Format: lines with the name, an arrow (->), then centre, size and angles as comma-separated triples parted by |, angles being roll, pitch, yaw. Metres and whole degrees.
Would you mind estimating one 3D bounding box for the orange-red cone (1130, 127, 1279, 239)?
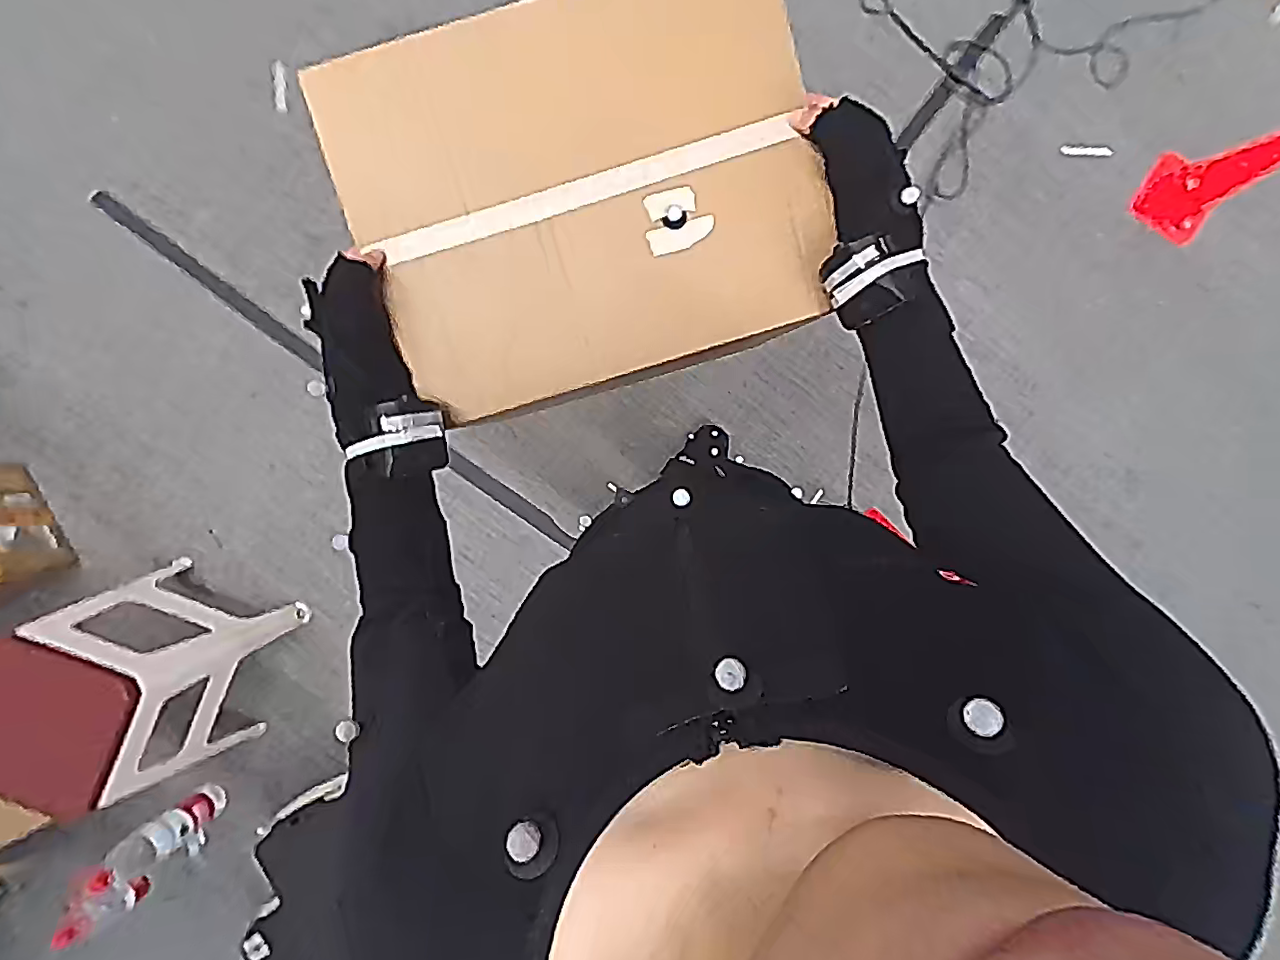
orange-red cone -> 1.485, -0.793, 1.329 | 0.198, 0.360, 0.199 | 34, 89, -3
